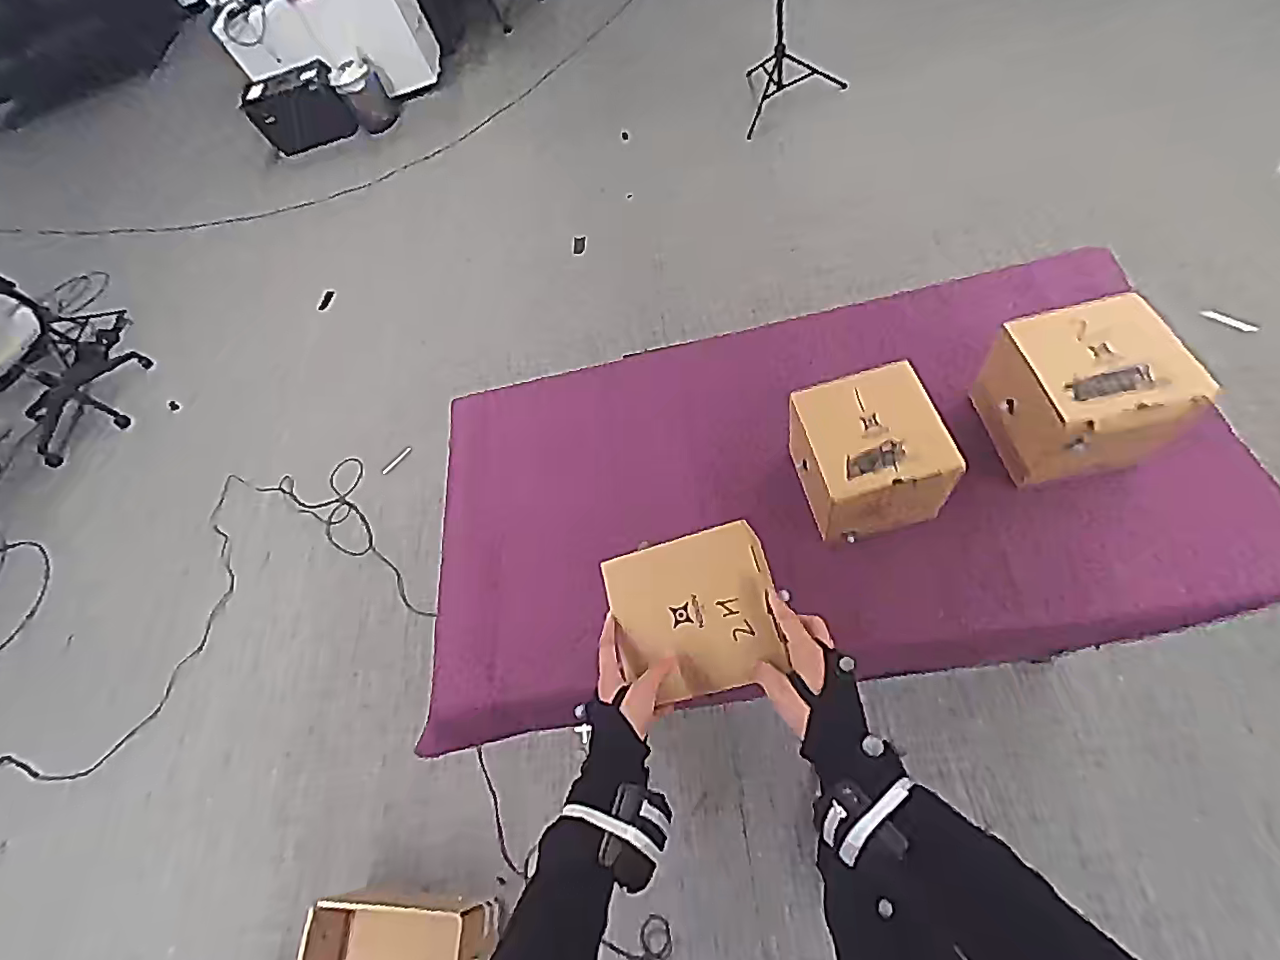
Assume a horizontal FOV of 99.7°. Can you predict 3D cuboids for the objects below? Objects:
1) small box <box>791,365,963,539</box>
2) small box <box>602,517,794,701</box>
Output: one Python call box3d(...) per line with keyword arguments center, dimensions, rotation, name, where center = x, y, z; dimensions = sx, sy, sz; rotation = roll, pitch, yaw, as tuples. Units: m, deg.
box3d(center=(0.323, -0.028, 0.775), dimensions=(0.168, 0.176, 0.179), rotation=(-15, 60, 7), name="small box")
box3d(center=(0.076, 0.160, 0.658), dimensions=(0.179, 0.176, 0.168), rotation=(-18, 71, 12), name="small box")
